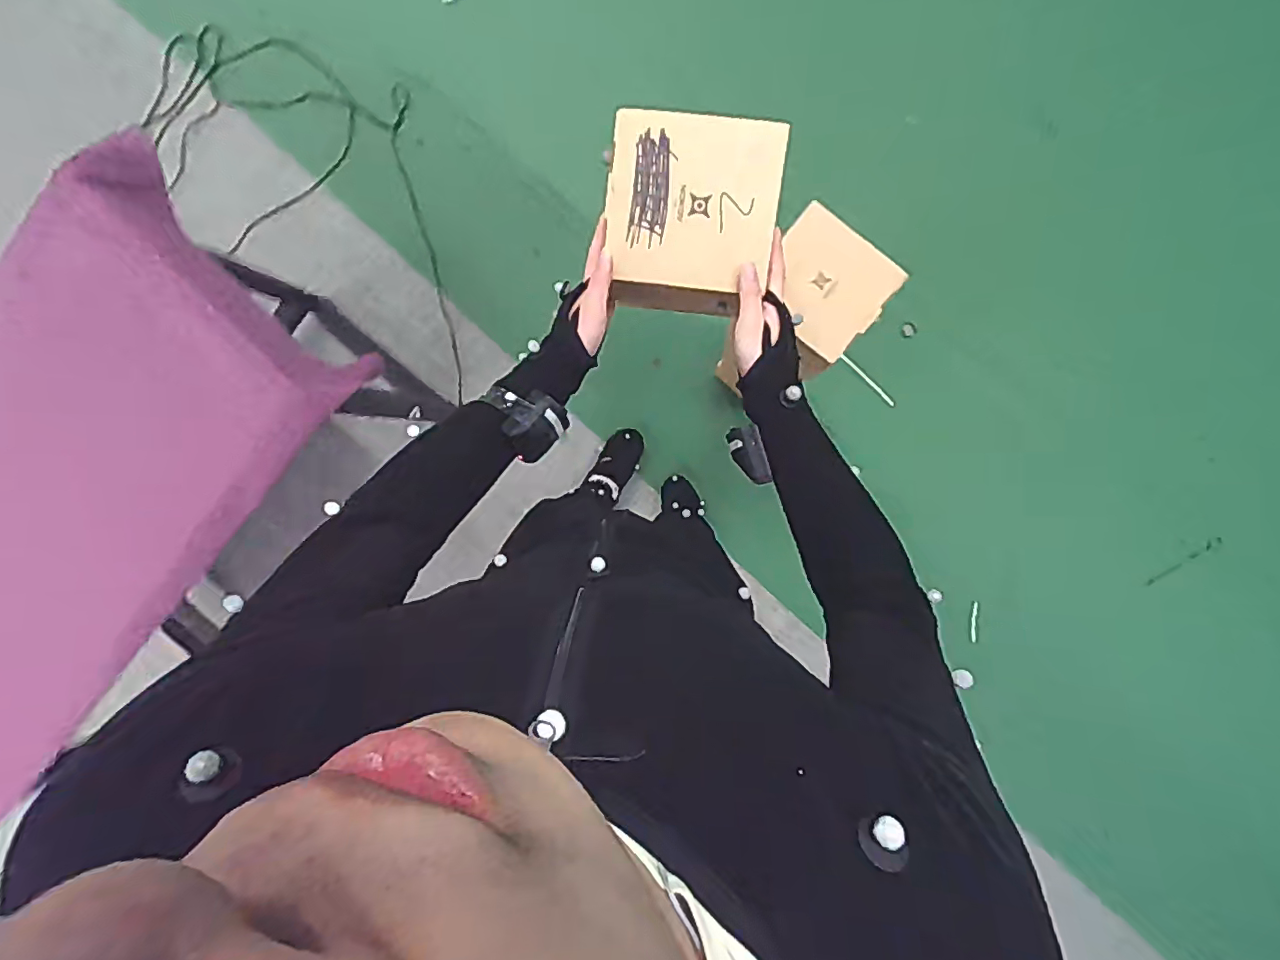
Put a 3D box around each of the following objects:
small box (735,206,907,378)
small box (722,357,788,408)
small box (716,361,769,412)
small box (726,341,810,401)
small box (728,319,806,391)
[{"bbox_3d":[0.269,-0.278,0.850,0.179,0.176,0.168,41,94,4],"label":"small box"},{"bbox_3d":[0.320,-0.292,1.338,0.179,0.176,0.168,40,96,3],"label":"small box"},{"bbox_3d":[0.329,-0.303,1.500,0.179,0.176,0.168,43,96,2],"label":"small box"},{"bbox_3d":[0.303,-0.287,1.175,0.179,0.176,0.168,38,96,2],"label":"small box"},{"bbox_3d":[0.282,-0.286,1.013,0.168,0.176,0.179,40,97,3],"label":"small box"}]
